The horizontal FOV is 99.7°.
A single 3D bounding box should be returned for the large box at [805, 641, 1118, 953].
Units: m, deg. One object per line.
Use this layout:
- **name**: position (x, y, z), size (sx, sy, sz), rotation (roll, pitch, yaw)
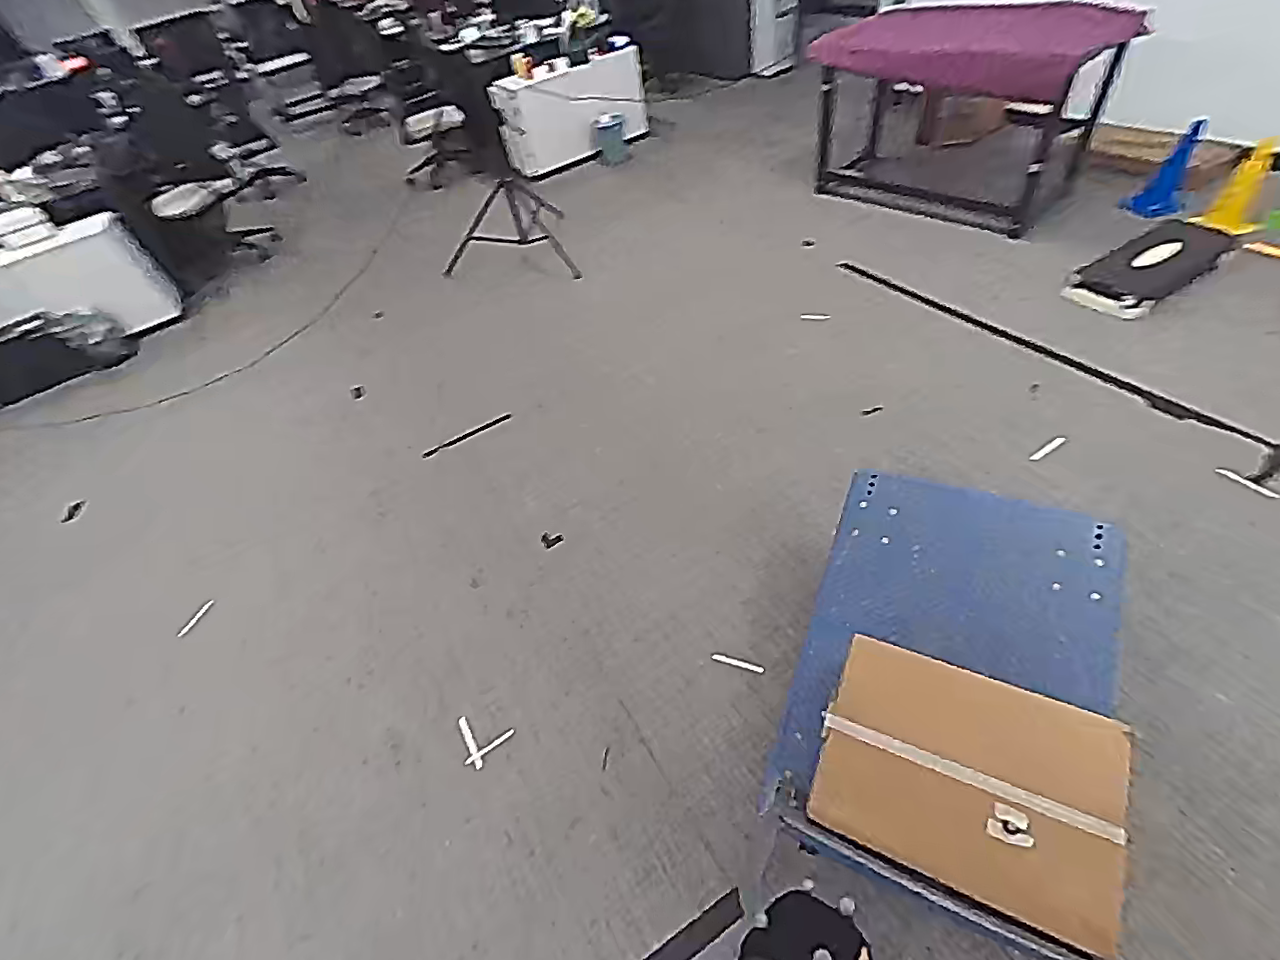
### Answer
- **large box**: position (0.540, 0.534, 0.984), size (0.408, 0.320, 0.320), rotation (16, 69, 23)
